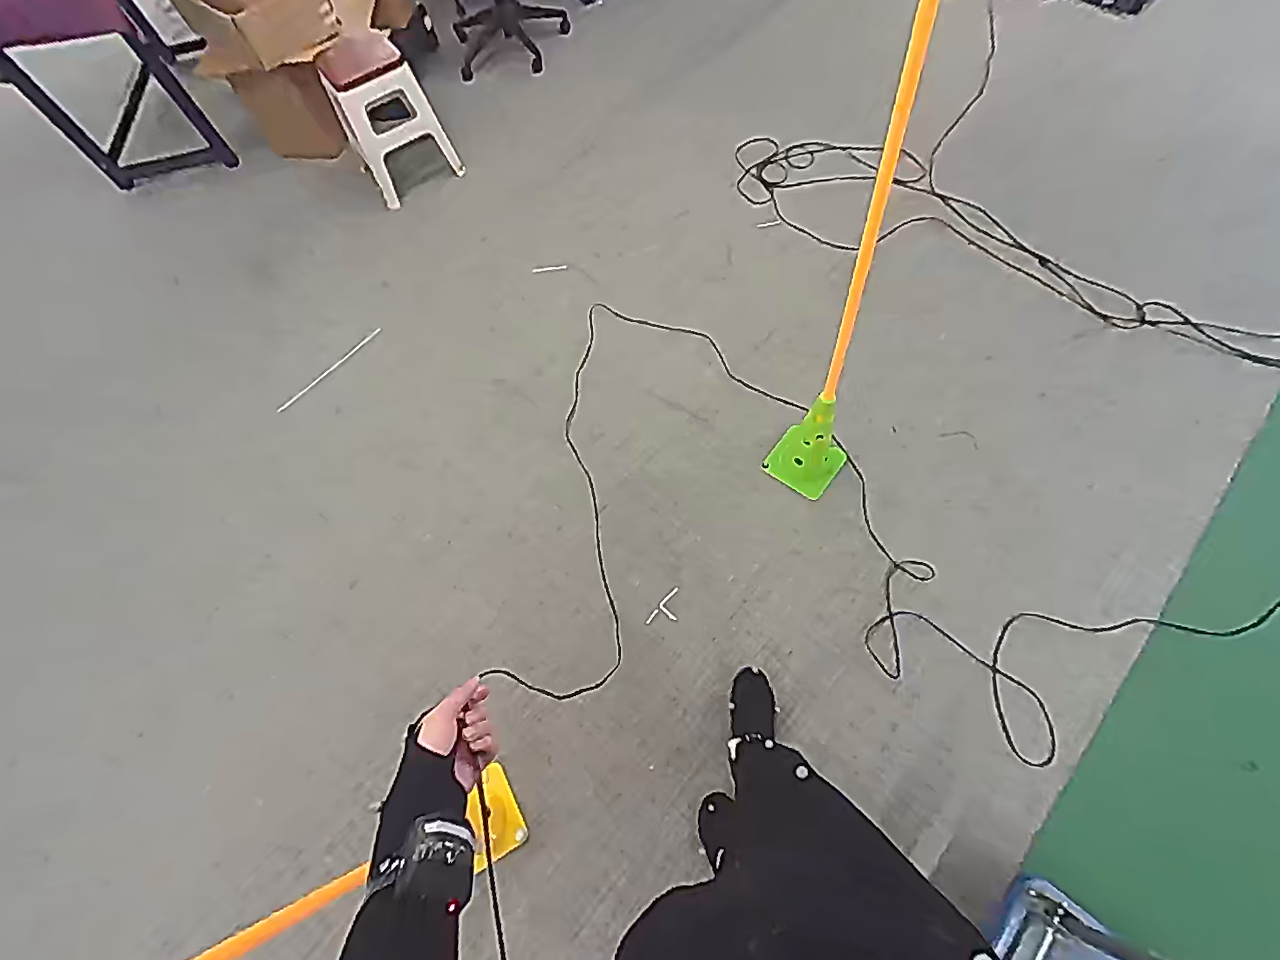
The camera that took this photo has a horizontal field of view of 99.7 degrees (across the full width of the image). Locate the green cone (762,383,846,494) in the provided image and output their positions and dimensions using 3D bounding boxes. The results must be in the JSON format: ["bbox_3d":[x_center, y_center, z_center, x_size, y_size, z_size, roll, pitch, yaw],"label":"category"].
[{"bbox_3d":[0.492,-0.146,1.517,0.200,0.368,0.202,34,72,19],"label":"green cone"}]
